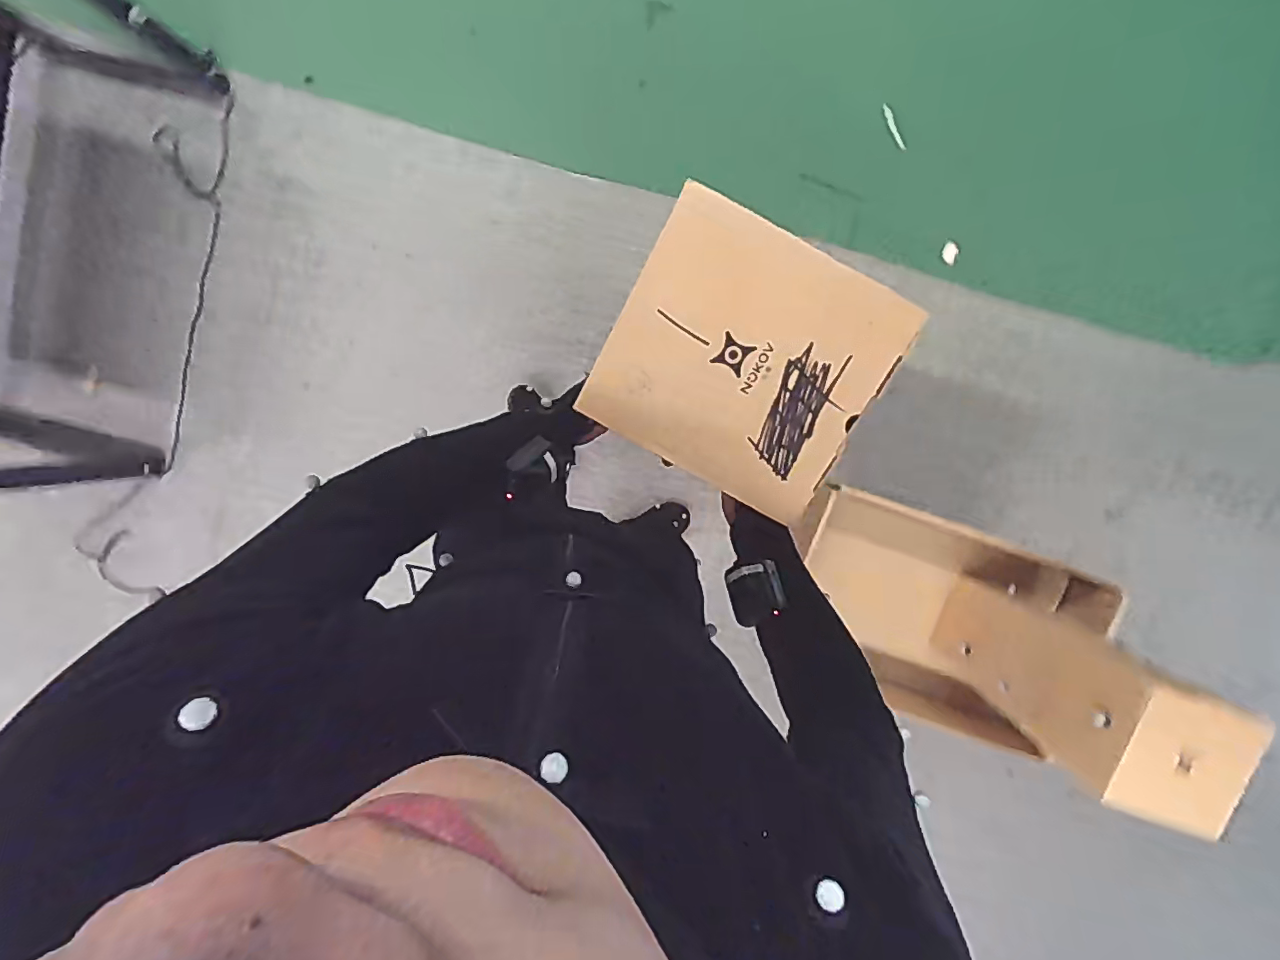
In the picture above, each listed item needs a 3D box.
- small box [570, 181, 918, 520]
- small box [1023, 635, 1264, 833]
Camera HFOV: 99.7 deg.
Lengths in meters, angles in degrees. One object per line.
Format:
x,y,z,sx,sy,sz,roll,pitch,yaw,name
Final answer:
0.071,-0.097,0.434,0.179,0.176,0.168,28,103,-1,small box
0.718,0.362,0.799,0.168,0.176,0.179,19,98,0,small box
